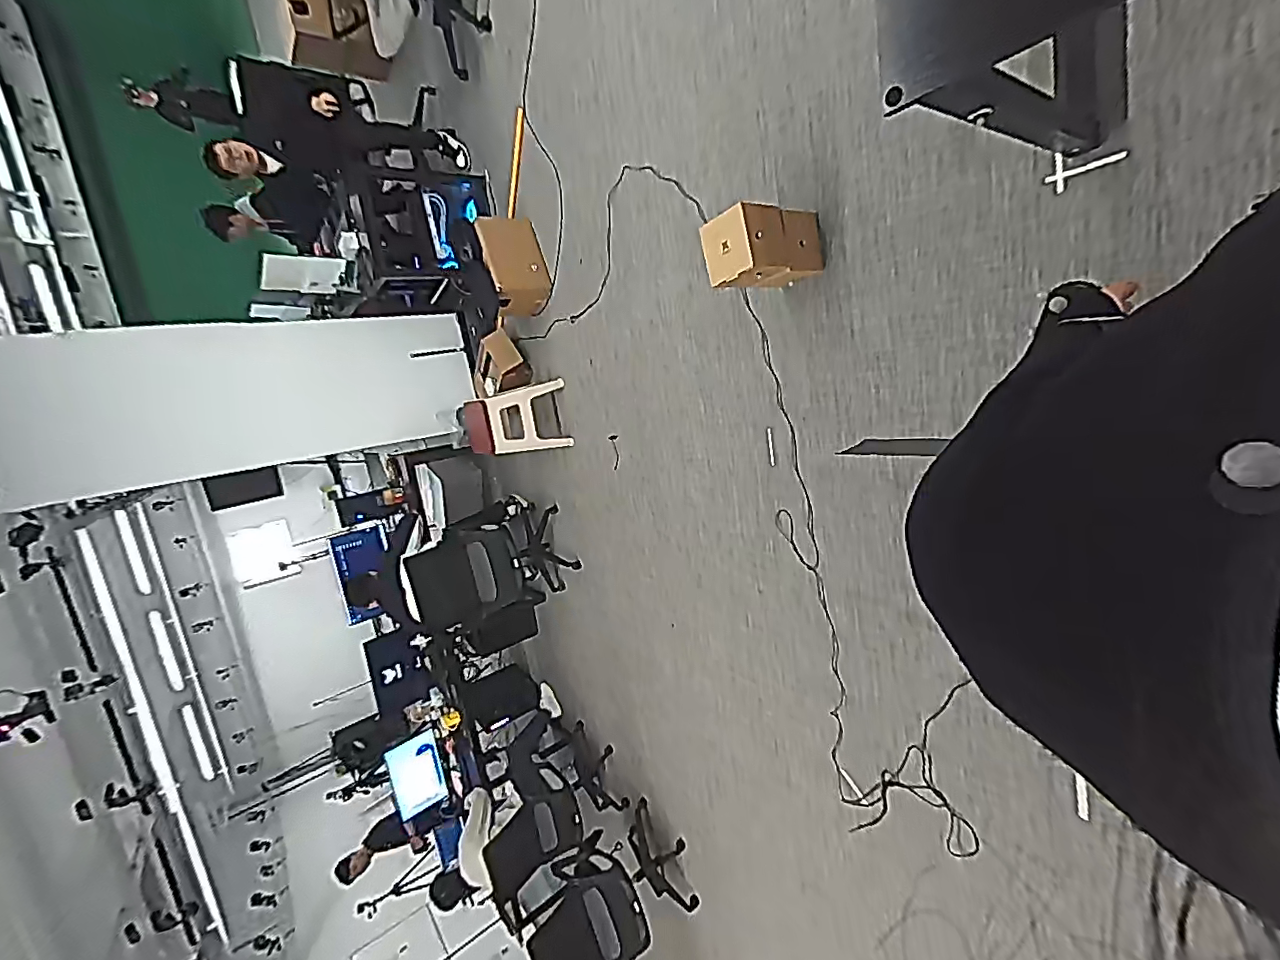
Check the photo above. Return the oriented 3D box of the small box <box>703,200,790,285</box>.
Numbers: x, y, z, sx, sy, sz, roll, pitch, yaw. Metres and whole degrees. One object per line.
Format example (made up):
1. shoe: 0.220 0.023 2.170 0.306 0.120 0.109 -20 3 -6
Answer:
1. small box: 0.308 -0.672 1.547 0.168 0.176 0.179 -7 97 54

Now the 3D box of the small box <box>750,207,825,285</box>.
1. small box: 0.438 -0.703 1.639 0.168 0.176 0.179 -1 103 54
